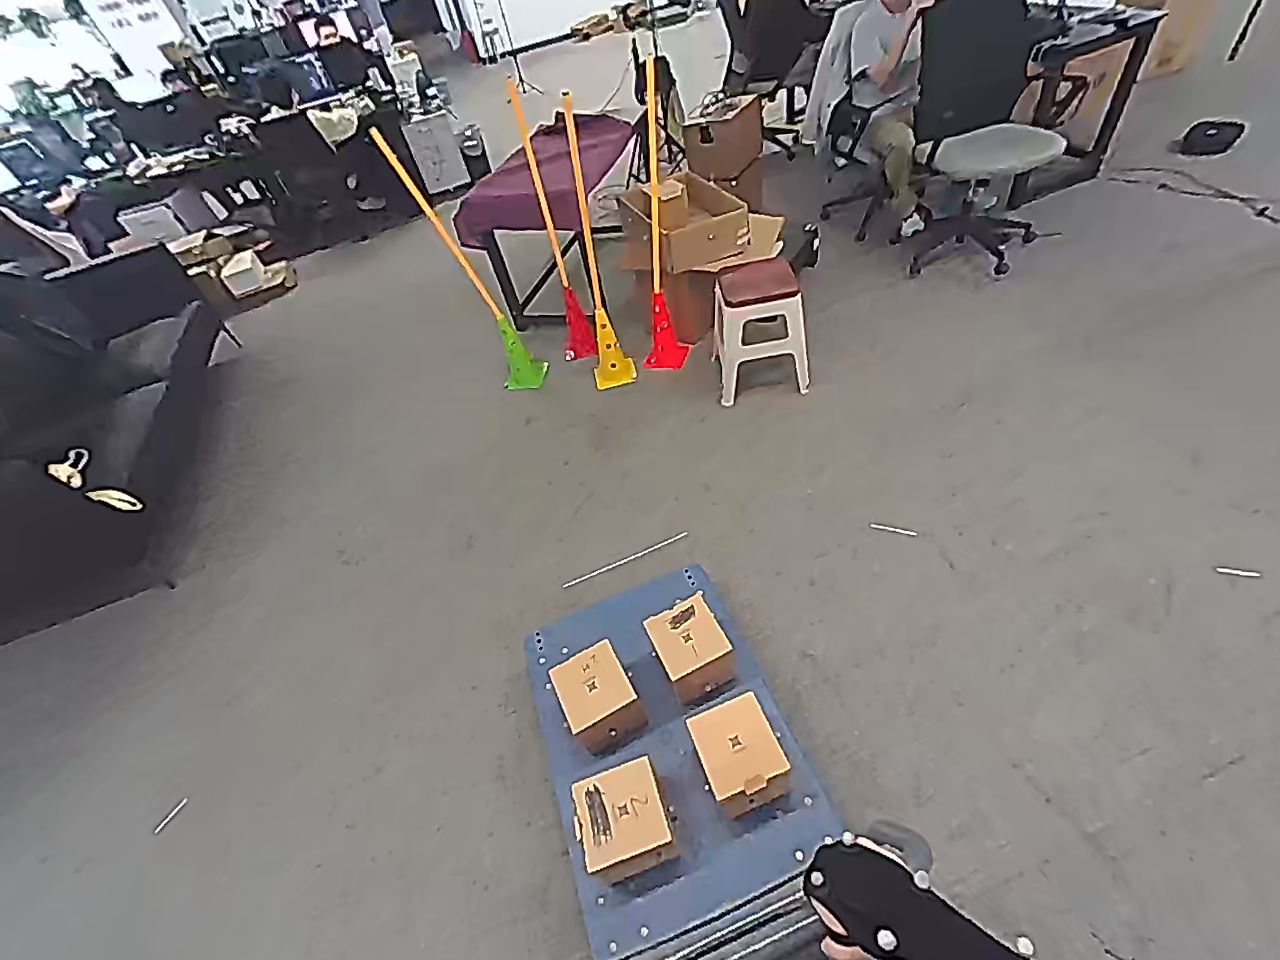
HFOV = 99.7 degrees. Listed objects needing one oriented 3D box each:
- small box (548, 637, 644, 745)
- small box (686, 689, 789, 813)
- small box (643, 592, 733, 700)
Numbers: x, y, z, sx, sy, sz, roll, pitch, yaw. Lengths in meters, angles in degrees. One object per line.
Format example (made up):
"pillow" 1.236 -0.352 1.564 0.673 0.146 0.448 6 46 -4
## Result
"small box" -0.106 0.532 1.348 0.168 0.176 0.179 -26 48 -11
"small box" 0.214 0.606 1.207 0.168 0.176 0.179 -21 48 -6
"small box" 0.125 0.428 1.387 0.168 0.176 0.179 -25 48 -8
